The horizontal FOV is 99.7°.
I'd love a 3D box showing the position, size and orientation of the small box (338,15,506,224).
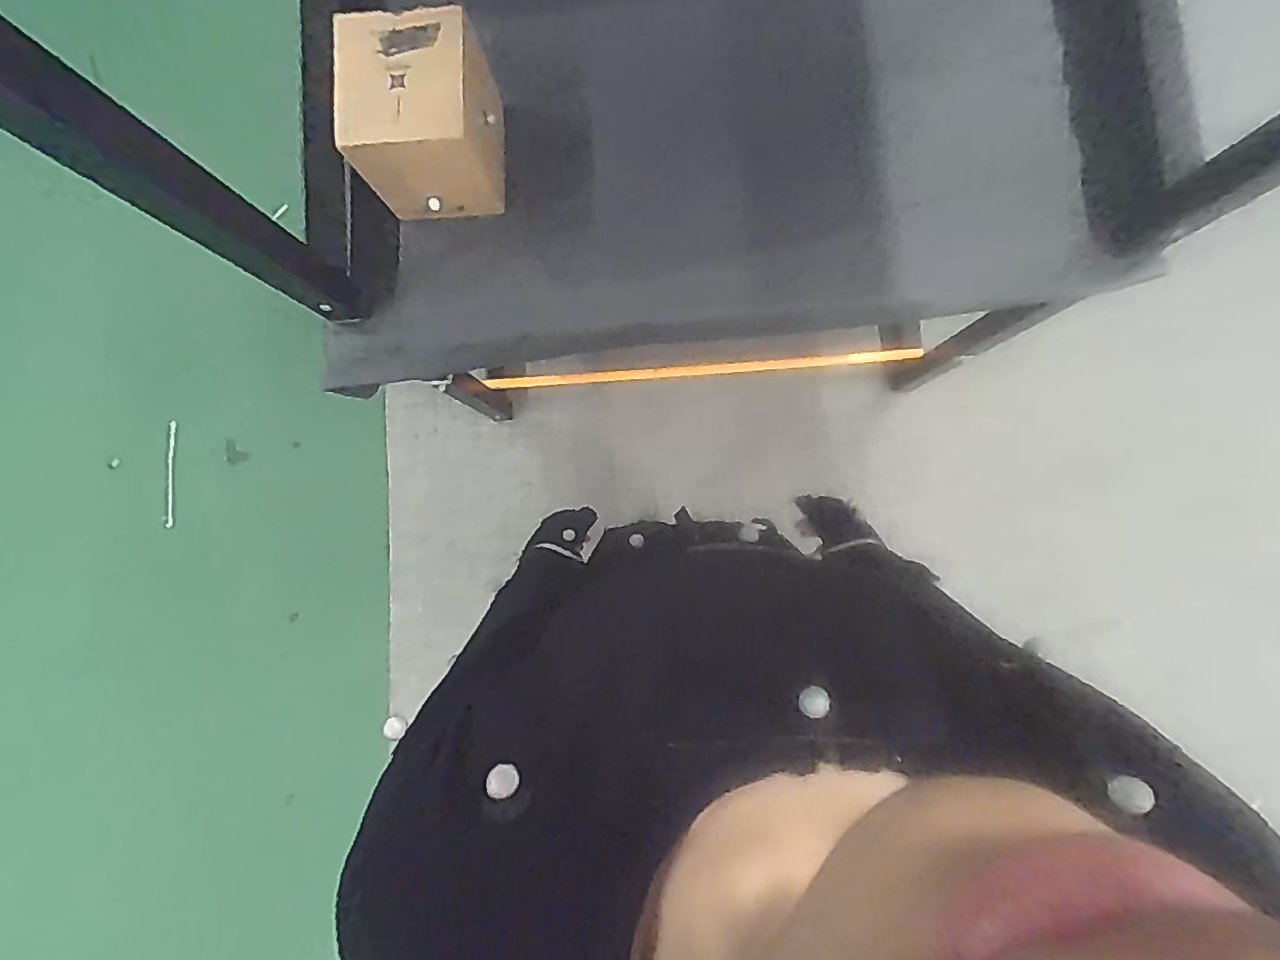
[{"bbox_3d":[-0.291,-0.487,0.752,0.168,0.176,0.179,-3,86,3],"label":"small box"}]
